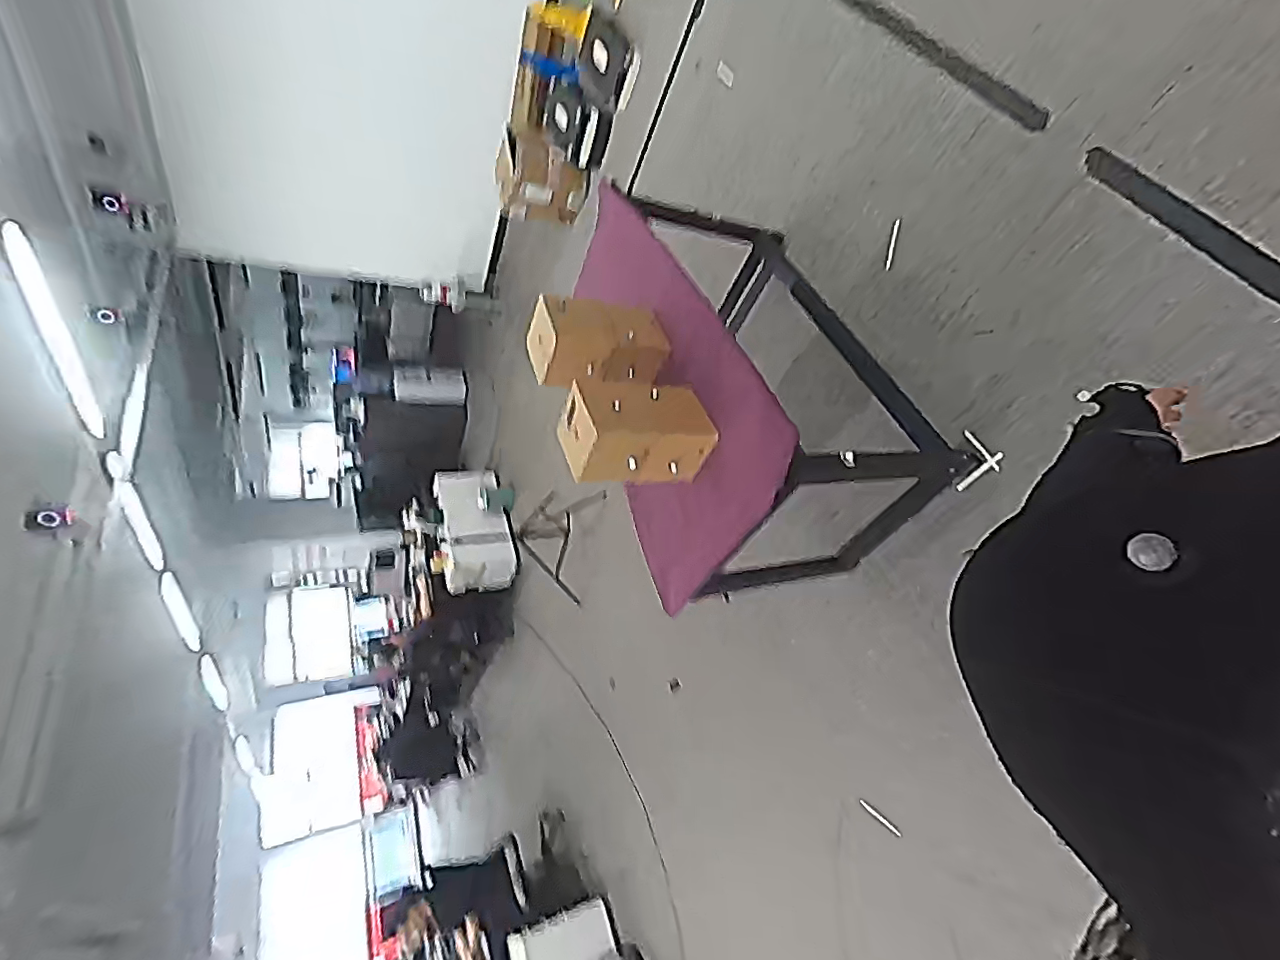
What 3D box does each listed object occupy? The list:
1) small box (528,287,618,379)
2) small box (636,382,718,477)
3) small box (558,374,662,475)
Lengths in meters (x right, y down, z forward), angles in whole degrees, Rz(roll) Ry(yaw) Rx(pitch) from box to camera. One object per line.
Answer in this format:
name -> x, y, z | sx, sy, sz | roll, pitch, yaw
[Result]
small box -> -0.180, -0.379, 1.428 | 0.168, 0.176, 0.179 | -56, 46, 47
small box -> 0.068, -0.128, 1.355 | 0.168, 0.176, 0.179 | -61, 42, 42
small box -> -0.073, -0.126, 1.270 | 0.179, 0.176, 0.168 | 65, 143, 33
